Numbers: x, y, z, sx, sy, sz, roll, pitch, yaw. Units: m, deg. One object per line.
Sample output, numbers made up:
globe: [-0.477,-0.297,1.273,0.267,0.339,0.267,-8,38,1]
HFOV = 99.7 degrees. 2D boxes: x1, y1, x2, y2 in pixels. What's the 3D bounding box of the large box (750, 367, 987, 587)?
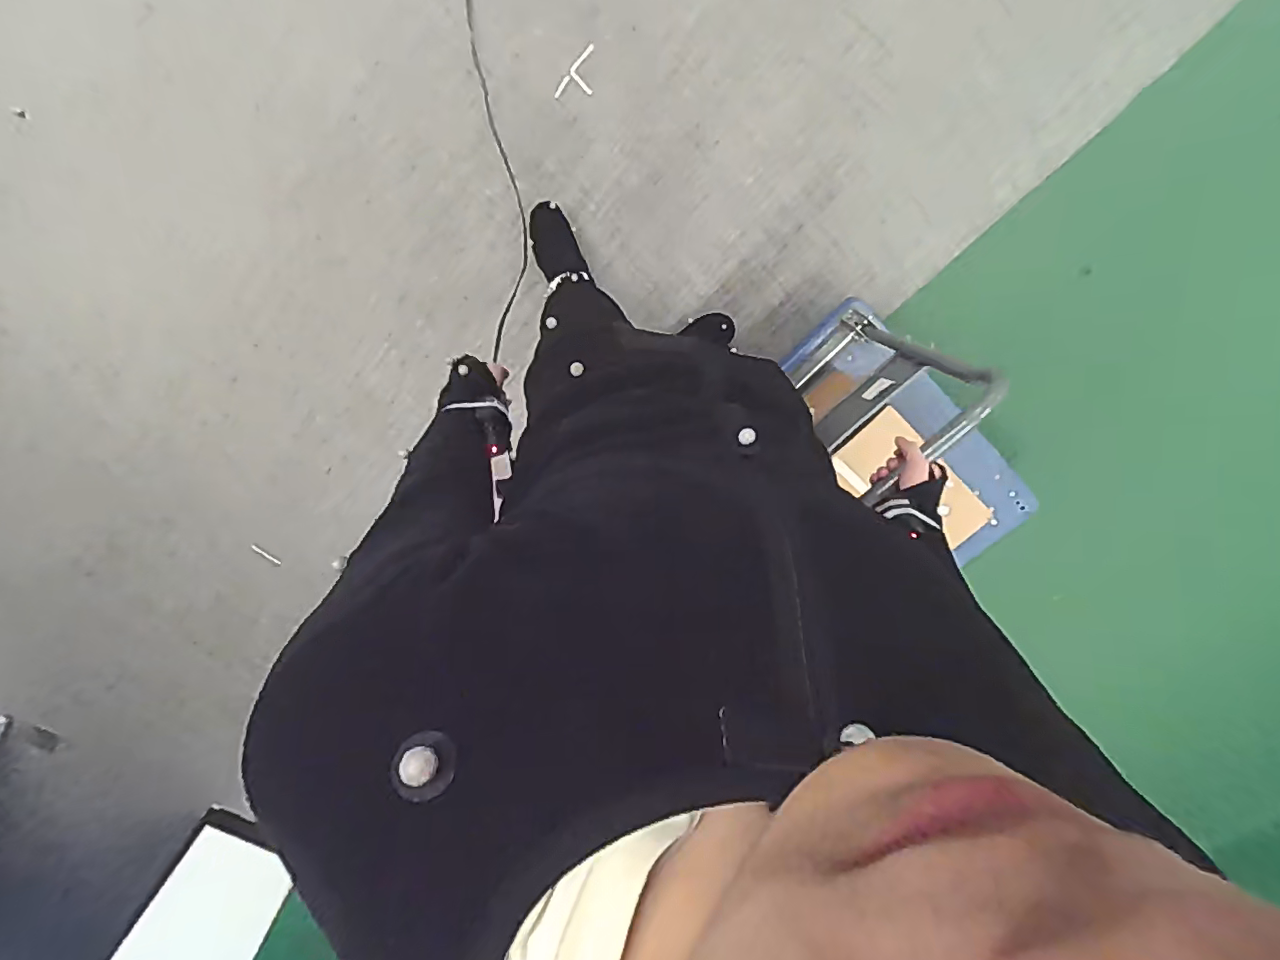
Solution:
large box: [0.547,-0.016,1.364,0.408,0.320,0.320,39,110,-18]
